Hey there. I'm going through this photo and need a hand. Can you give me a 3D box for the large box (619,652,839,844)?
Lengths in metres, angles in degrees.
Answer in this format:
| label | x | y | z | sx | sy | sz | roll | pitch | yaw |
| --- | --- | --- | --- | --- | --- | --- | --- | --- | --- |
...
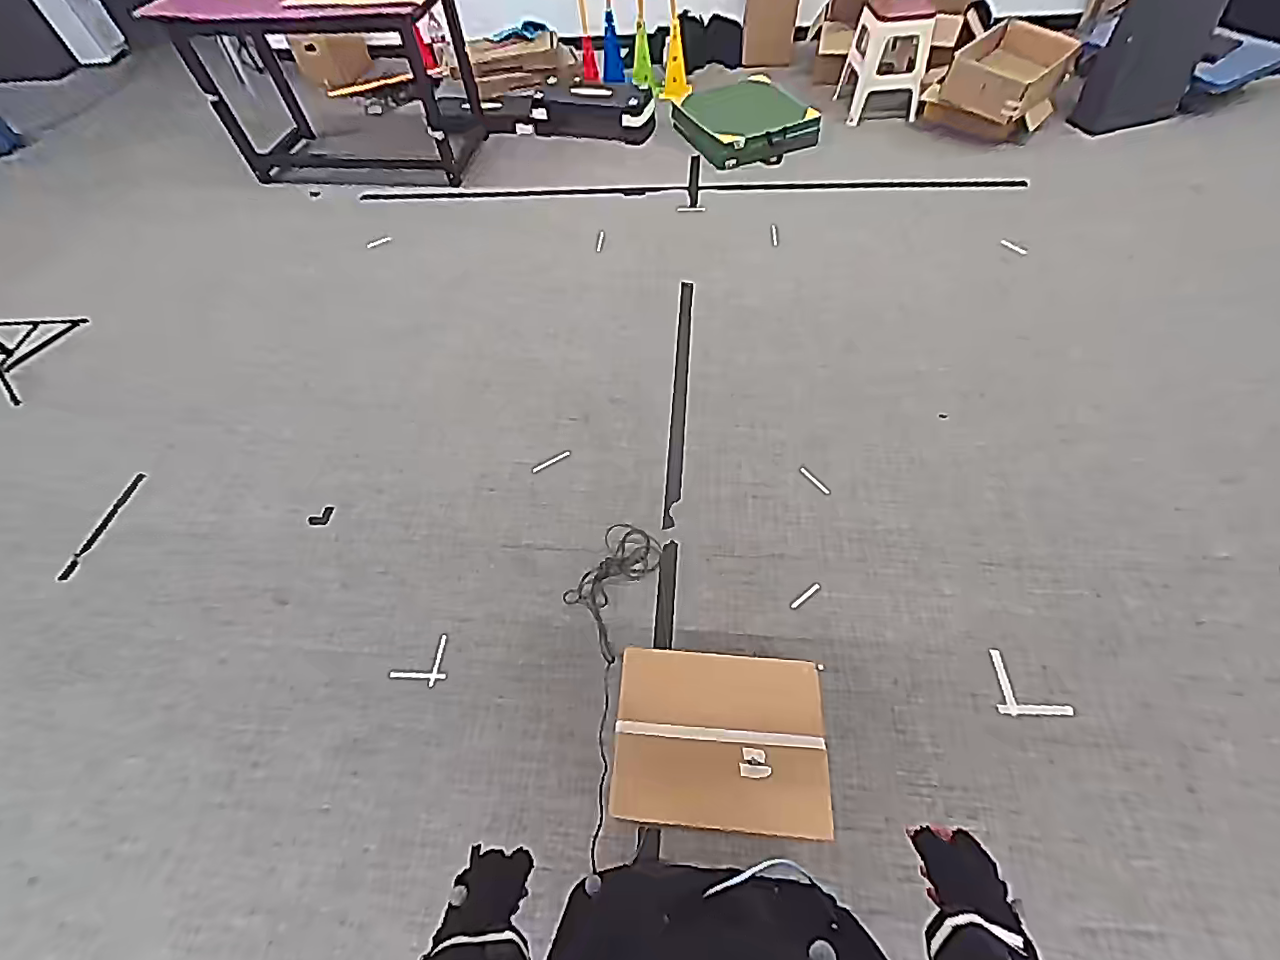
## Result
| label | x | y | z | sx | sy | sz | roll | pitch | yaw |
| --- | --- | --- | --- | --- | --- | --- | --- | --- | --- |
| large box | 0.172 | 0.589 | 1.178 | 0.408 | 0.320 | 0.320 | 4 | 57 | 4 |
